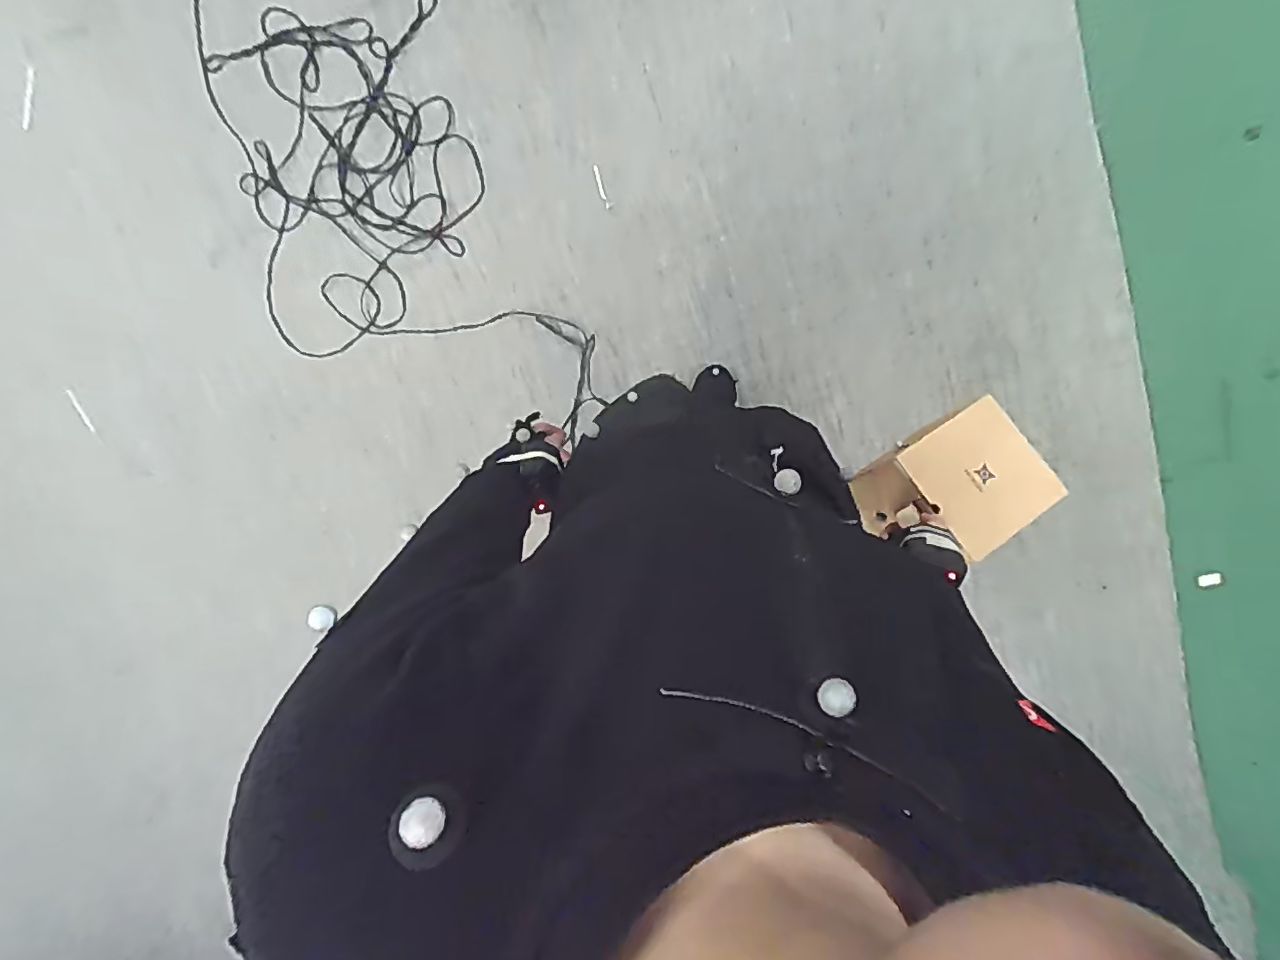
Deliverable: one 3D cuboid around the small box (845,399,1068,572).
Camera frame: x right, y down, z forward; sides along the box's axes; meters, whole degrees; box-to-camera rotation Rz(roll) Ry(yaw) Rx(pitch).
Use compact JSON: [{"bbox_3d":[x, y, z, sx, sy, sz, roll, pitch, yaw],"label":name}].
[{"bbox_3d":[0.435,0.017,0.773,0.179,0.176,0.168,-31,81,-11],"label":"small box"}]
